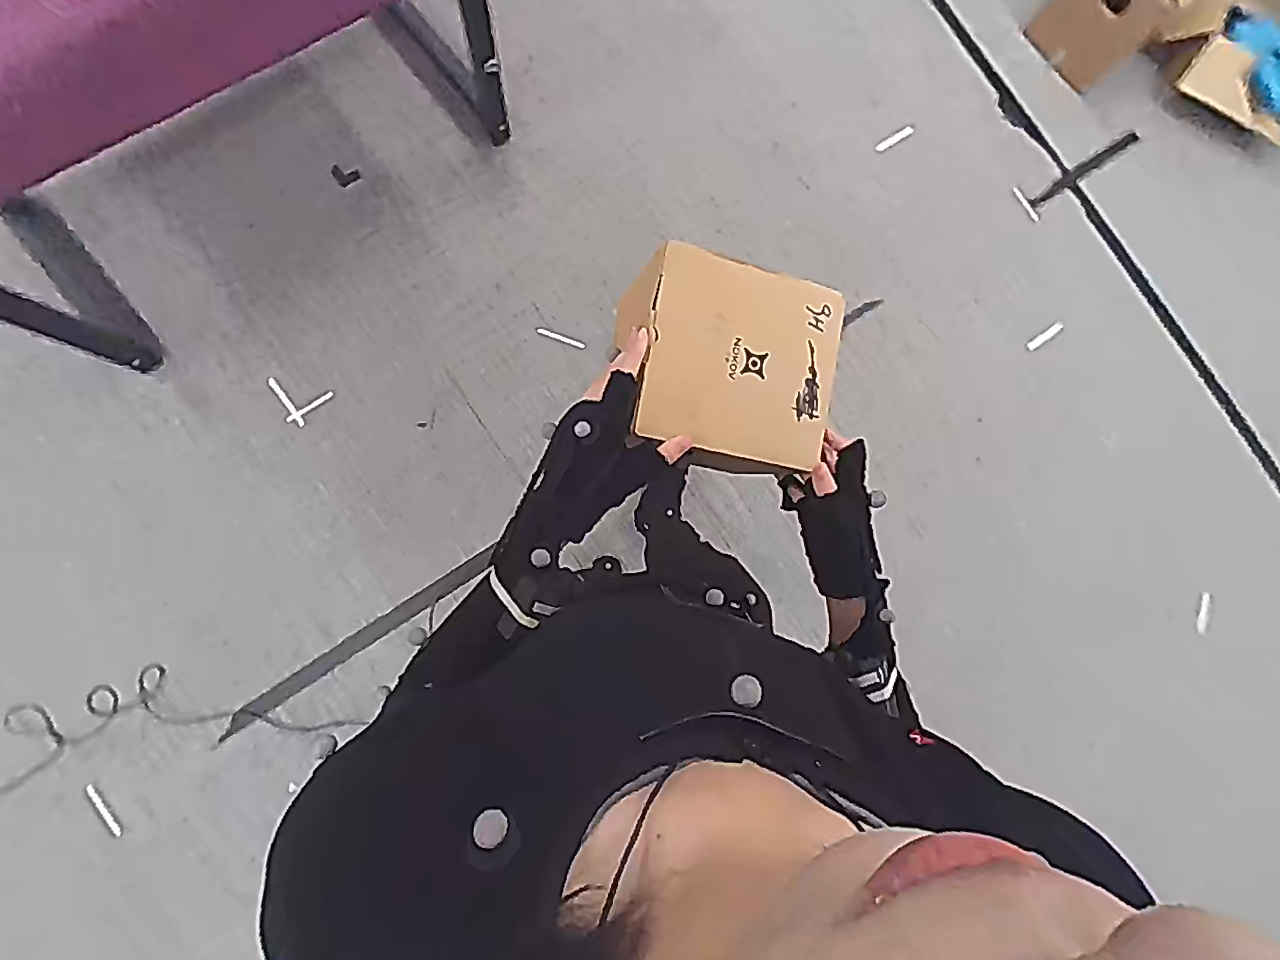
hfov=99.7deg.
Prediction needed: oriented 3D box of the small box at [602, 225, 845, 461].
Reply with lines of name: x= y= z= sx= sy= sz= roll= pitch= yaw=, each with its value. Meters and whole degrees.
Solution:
small box: x=0.067 y=-0.113 z=0.530 sx=0.179 sy=0.176 sz=0.168 roll=10 pitch=88 yaw=-14
